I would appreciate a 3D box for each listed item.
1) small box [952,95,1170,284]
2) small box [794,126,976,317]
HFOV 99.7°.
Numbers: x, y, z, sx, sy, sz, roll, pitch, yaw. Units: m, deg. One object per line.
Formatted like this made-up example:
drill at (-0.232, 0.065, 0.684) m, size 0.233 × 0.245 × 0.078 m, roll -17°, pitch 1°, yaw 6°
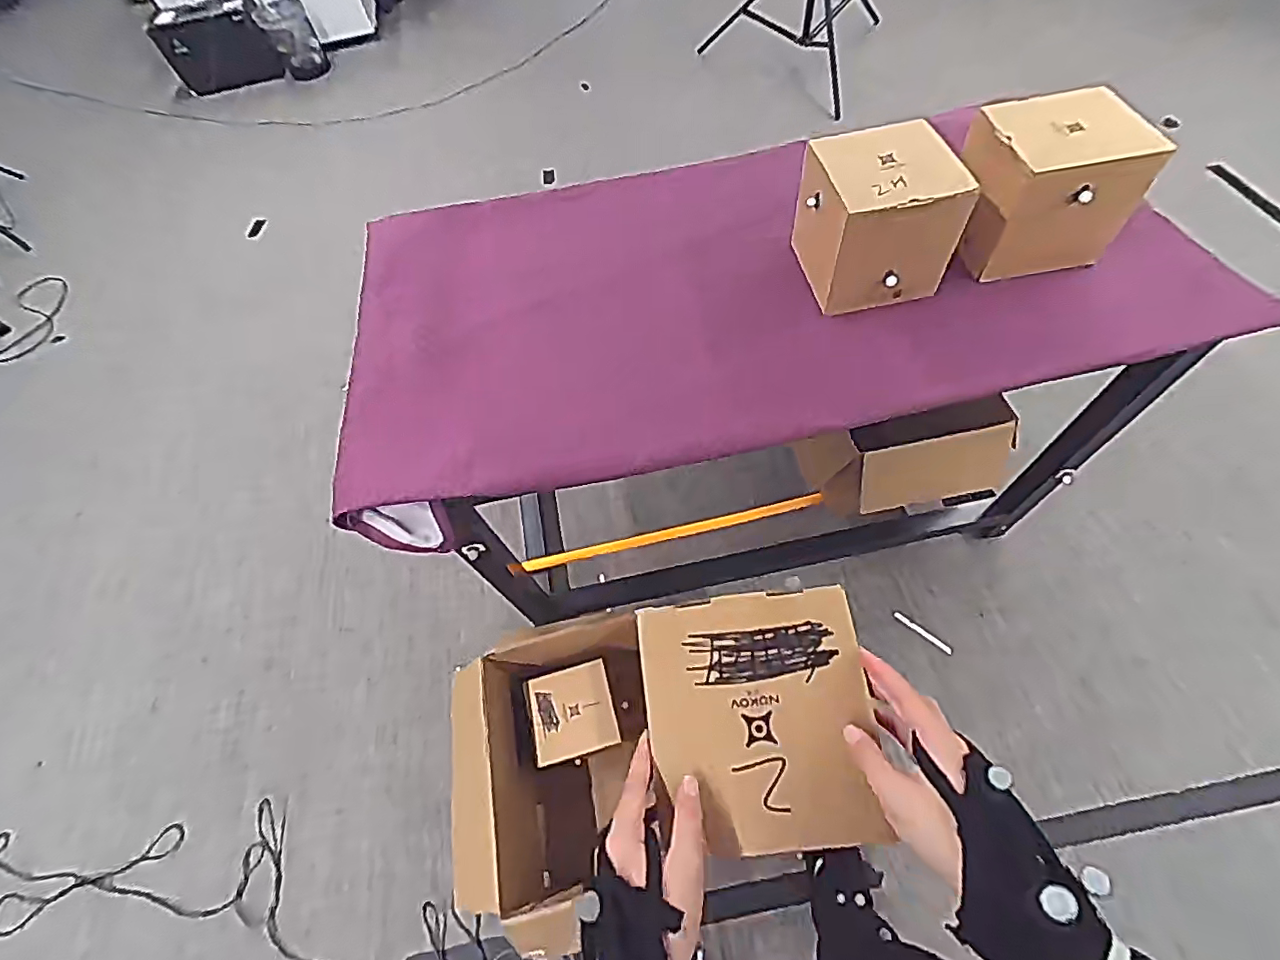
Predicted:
small box at (0.569, -0.409, 0.776) m, size 0.179 × 0.176 × 0.168 m, roll -8°, pitch 58°, yaw 3°
small box at (0.332, -0.366, 0.778) m, size 0.168 × 0.176 × 0.179 m, roll -10°, pitch 59°, yaw 2°
